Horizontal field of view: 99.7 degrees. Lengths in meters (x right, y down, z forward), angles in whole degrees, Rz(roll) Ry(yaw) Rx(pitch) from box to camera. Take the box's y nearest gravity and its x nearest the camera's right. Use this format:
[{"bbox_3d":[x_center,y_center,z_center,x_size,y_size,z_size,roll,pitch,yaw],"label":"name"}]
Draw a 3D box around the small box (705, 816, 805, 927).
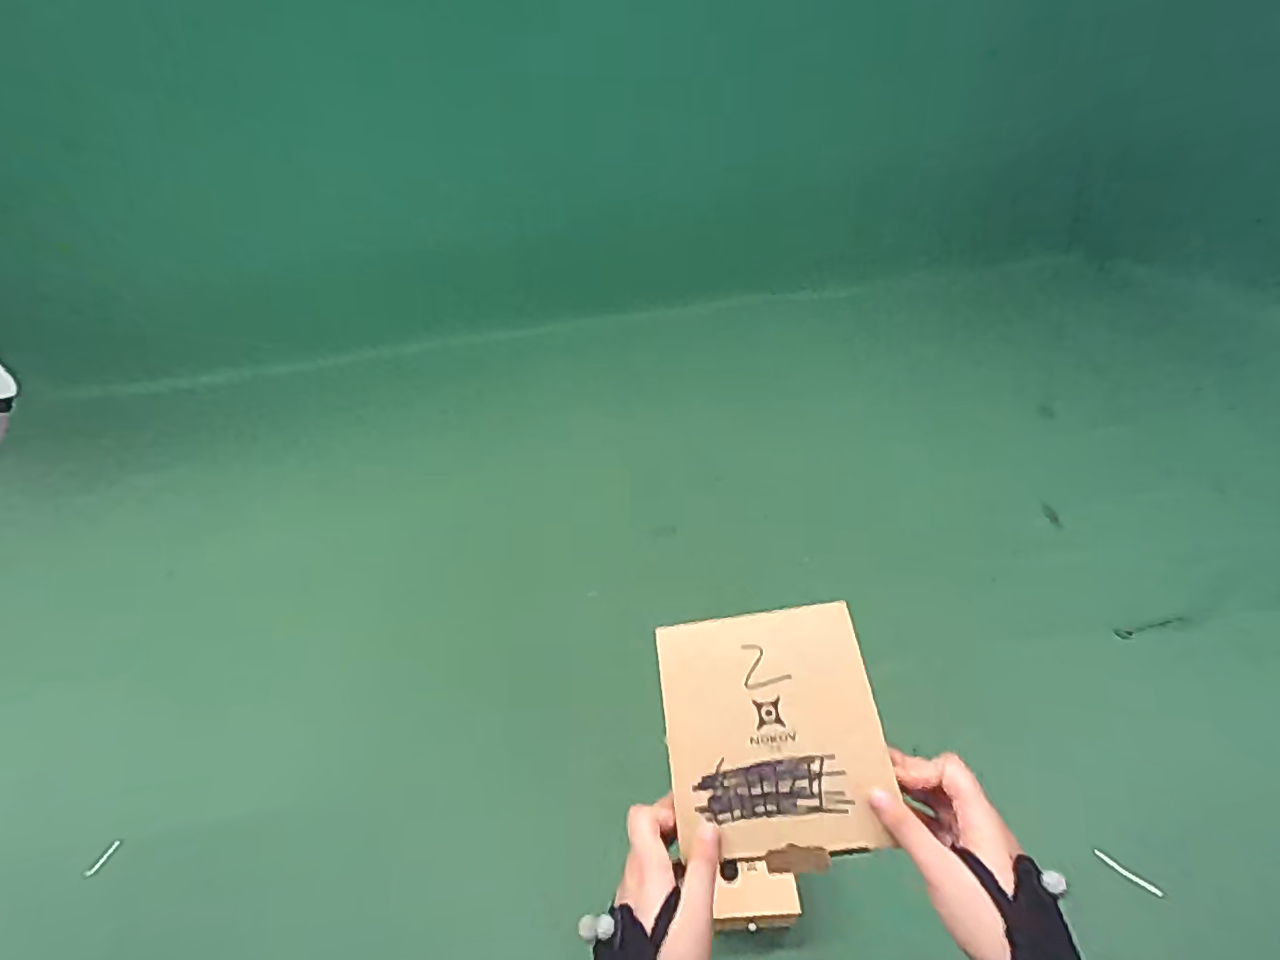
[{"bbox_3d":[0.233,0.829,1.144,0.179,0.176,0.168,-6,45,2],"label":"small box"}]
